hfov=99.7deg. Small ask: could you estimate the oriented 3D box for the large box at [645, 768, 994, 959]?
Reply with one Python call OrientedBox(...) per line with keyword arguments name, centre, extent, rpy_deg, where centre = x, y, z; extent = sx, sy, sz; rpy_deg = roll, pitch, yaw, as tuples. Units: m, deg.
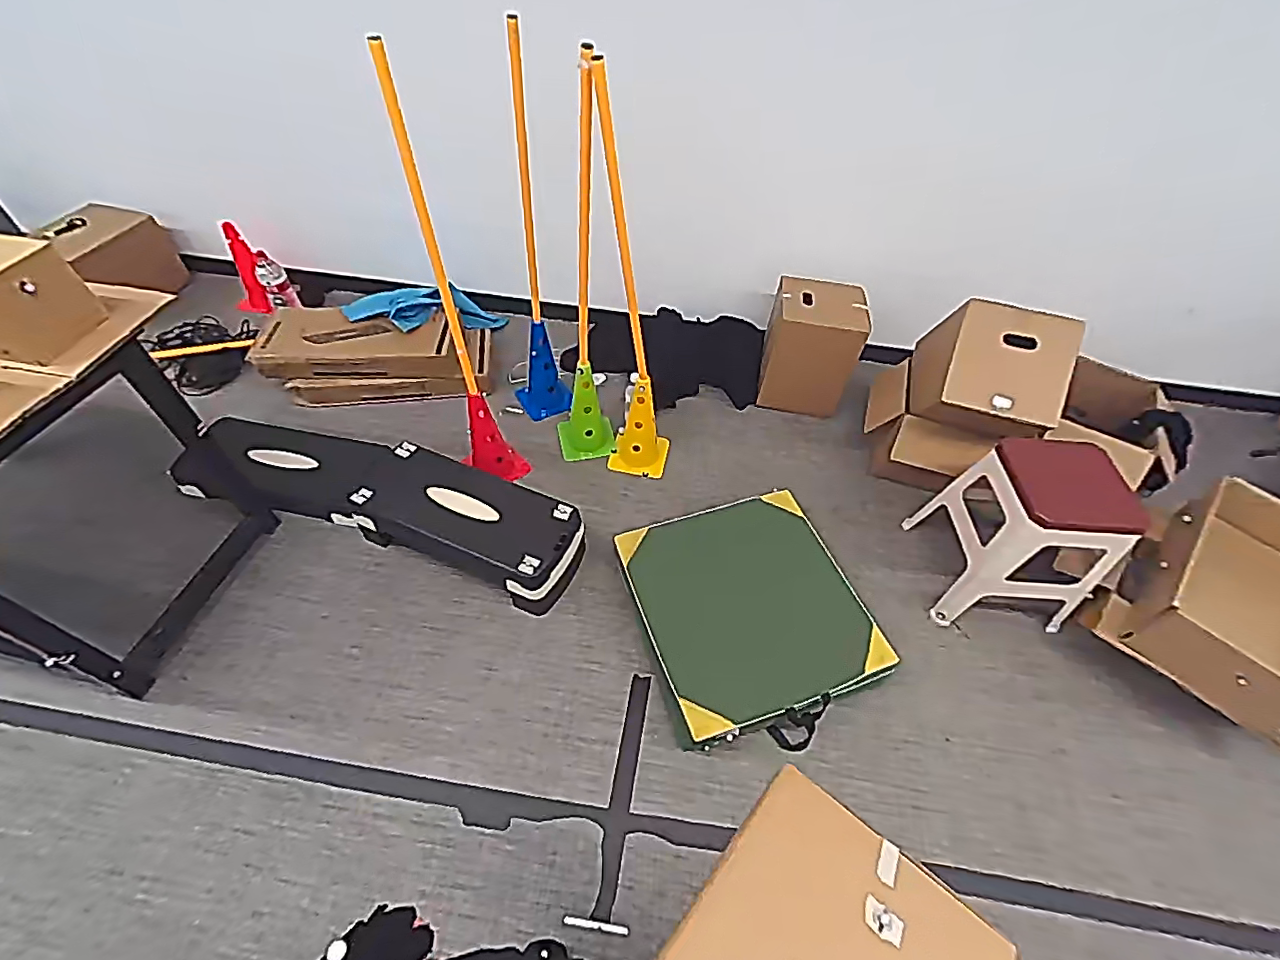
OrientedBox(name="large box", centre=(0.198, 0.694, 0.734), extent=(0.320, 0.408, 0.320), rpy_deg=(33, 44, 29))
